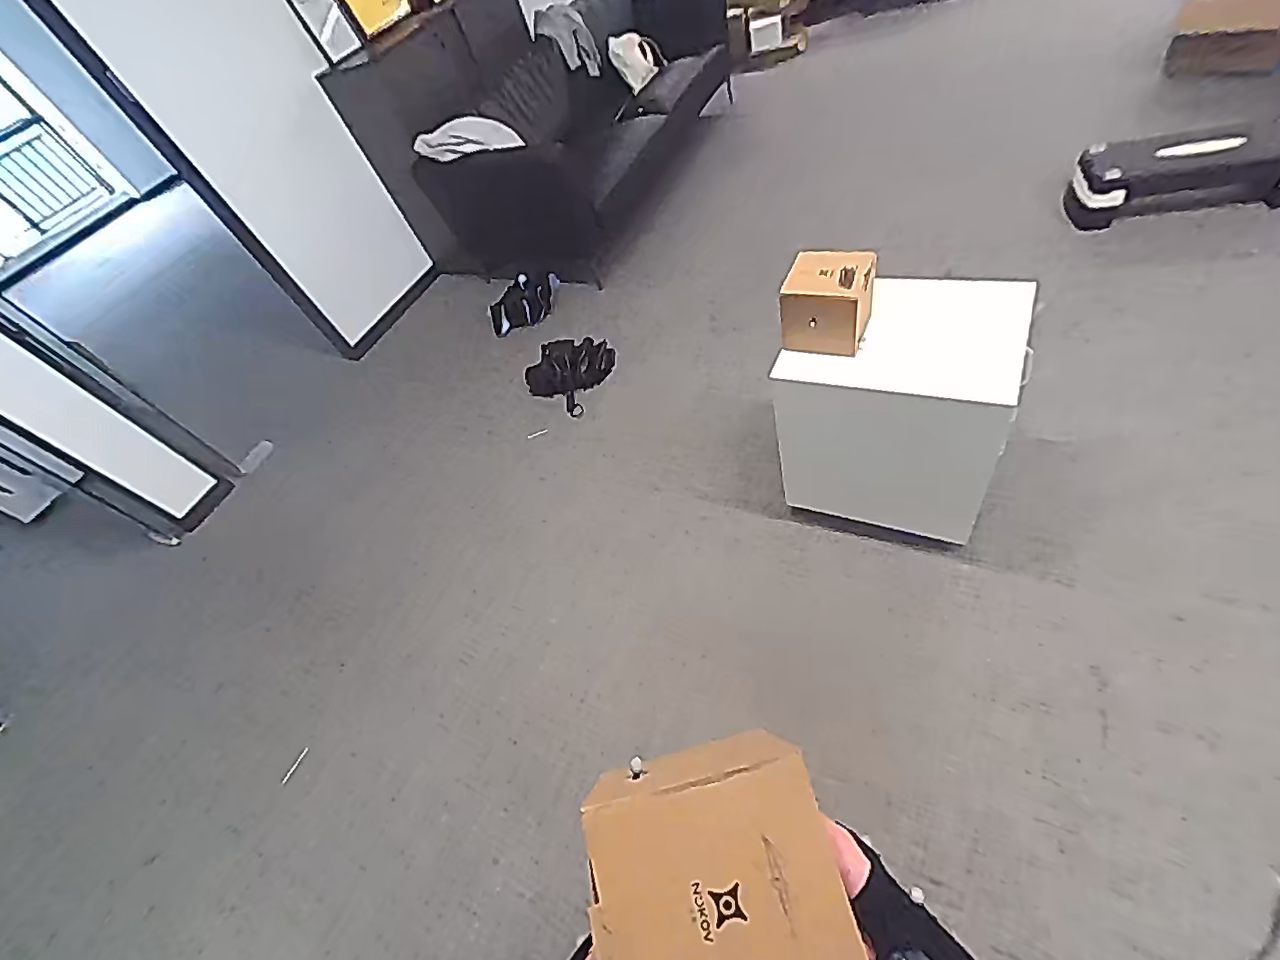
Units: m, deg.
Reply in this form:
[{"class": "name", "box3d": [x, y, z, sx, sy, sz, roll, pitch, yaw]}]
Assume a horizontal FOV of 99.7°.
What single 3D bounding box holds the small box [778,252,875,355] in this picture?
[{"class": "small box", "box3d": [0.442, -0.415, 1.282, 0.179, 0.176, 0.168, 14, 59, 28]}]
